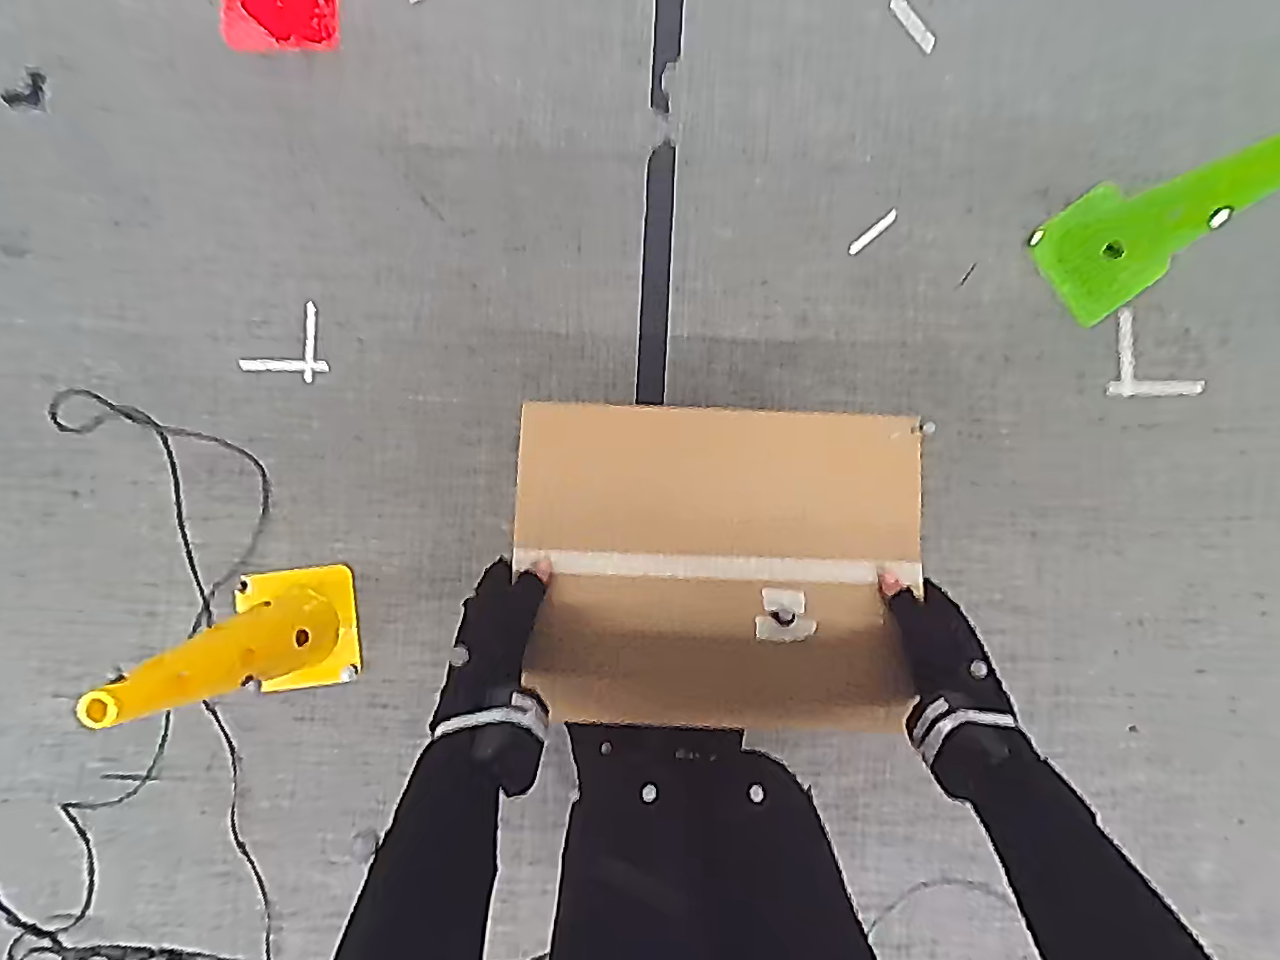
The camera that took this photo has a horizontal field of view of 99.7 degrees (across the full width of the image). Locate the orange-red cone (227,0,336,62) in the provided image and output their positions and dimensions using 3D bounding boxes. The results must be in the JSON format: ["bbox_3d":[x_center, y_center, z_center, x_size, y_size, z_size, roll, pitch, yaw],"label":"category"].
[{"bbox_3d":[-0.642,-0.848,0.798,0.198,0.360,0.199,-1,89,0],"label":"orange-red cone"}]

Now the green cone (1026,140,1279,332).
[{"bbox_3d":[0.829,-0.400,0.807,0.202,0.368,0.200,-36,90,-3],"label":"green cone"}]

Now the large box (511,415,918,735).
[{"bbox_3d":[0.072,0.104,0.683,0.408,0.320,0.320,2,86,0],"label":"large box"}]
